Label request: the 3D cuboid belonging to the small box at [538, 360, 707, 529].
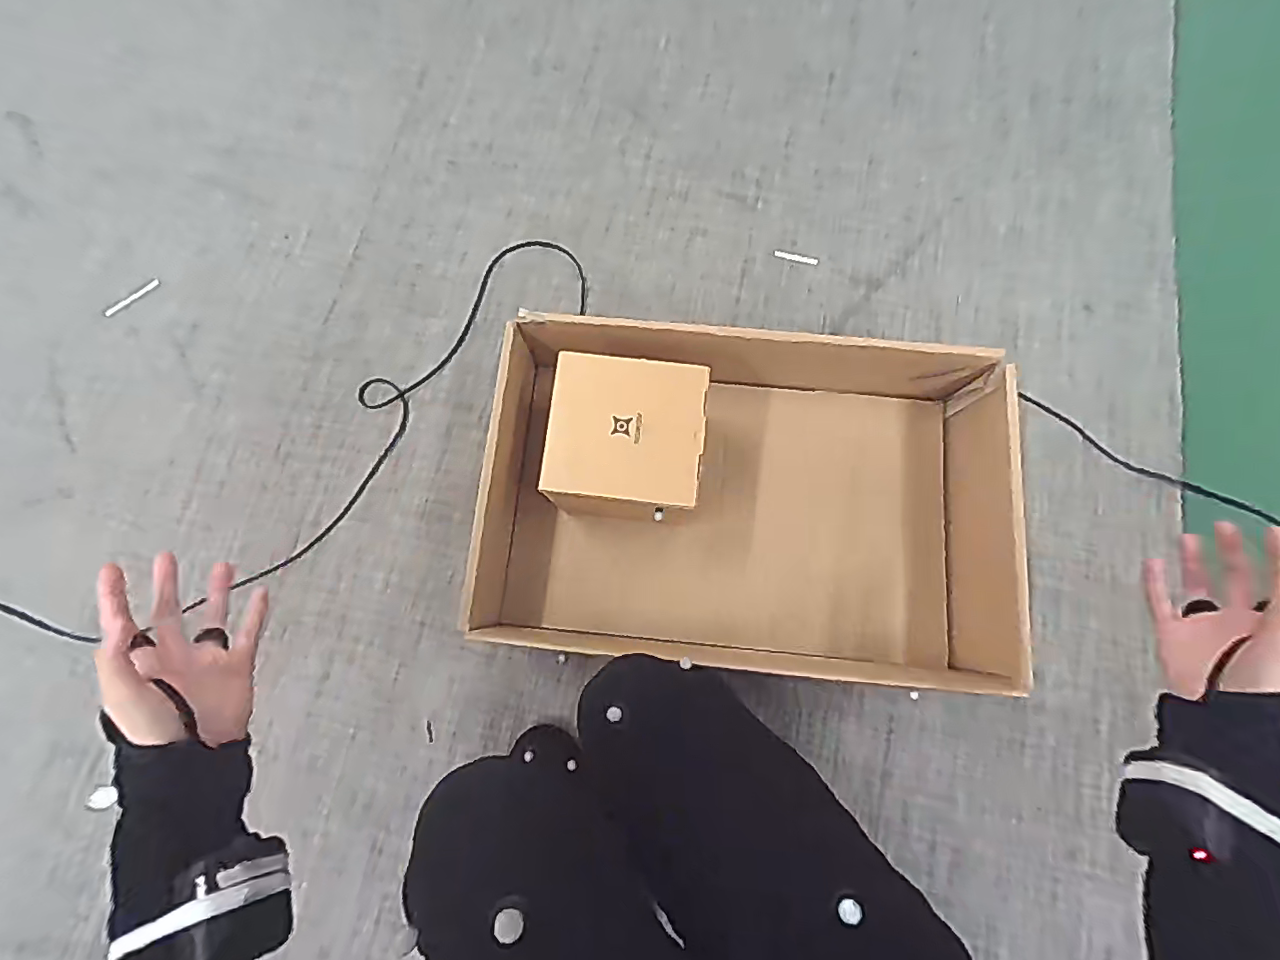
[{"bbox_3d":[-0.017,-0.035,0.681,0.179,0.176,0.168,6,79,1],"label":"small box"}]
